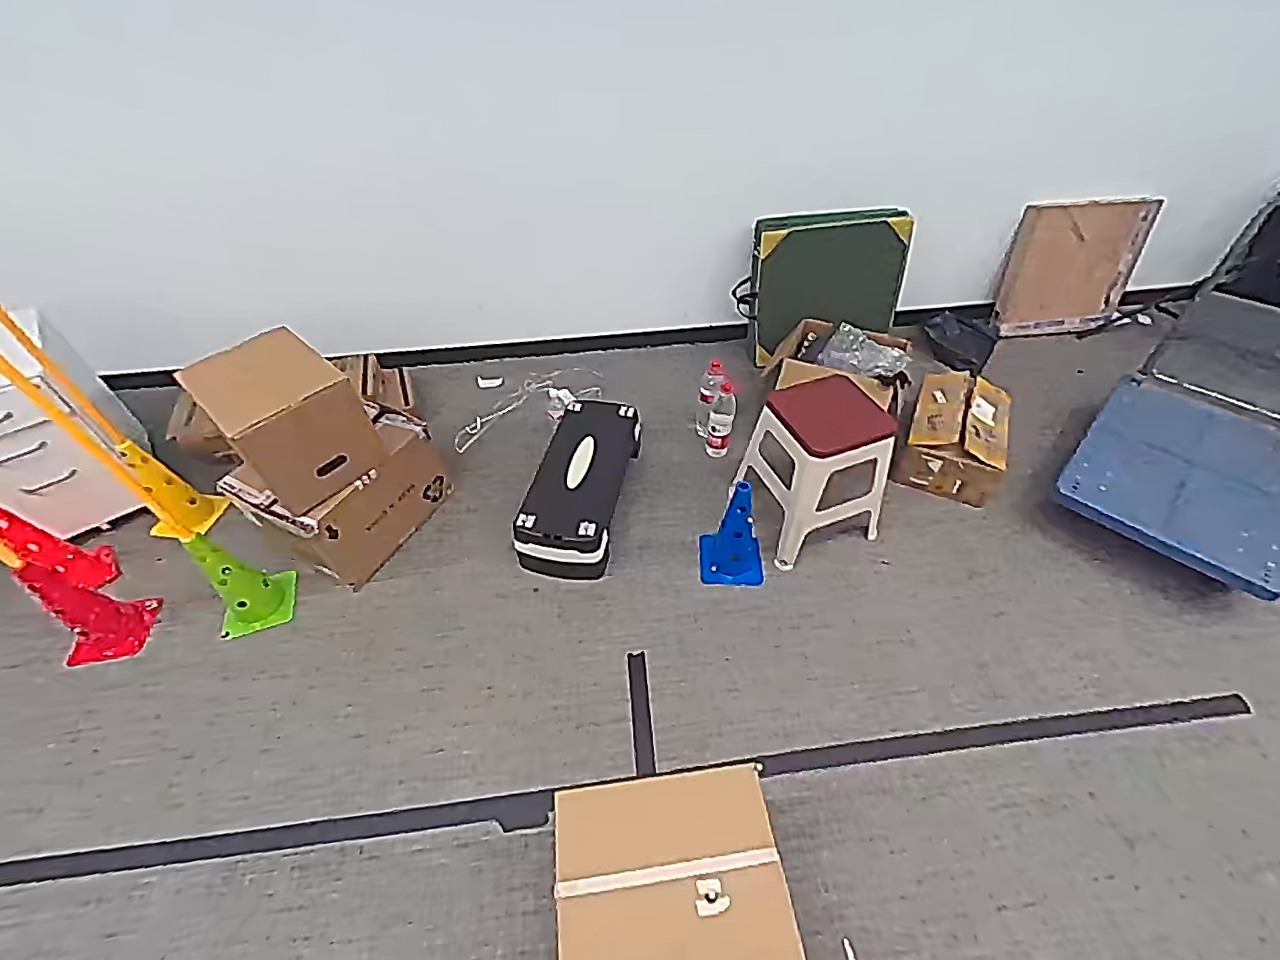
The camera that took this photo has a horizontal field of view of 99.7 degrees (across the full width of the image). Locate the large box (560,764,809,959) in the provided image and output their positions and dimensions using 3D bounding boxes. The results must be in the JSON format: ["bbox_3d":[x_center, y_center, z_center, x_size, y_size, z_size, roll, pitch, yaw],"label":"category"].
[{"bbox_3d":[0.061,0.808,1.075,0.408,0.320,0.320,-6,47,-5],"label":"large box"}]
